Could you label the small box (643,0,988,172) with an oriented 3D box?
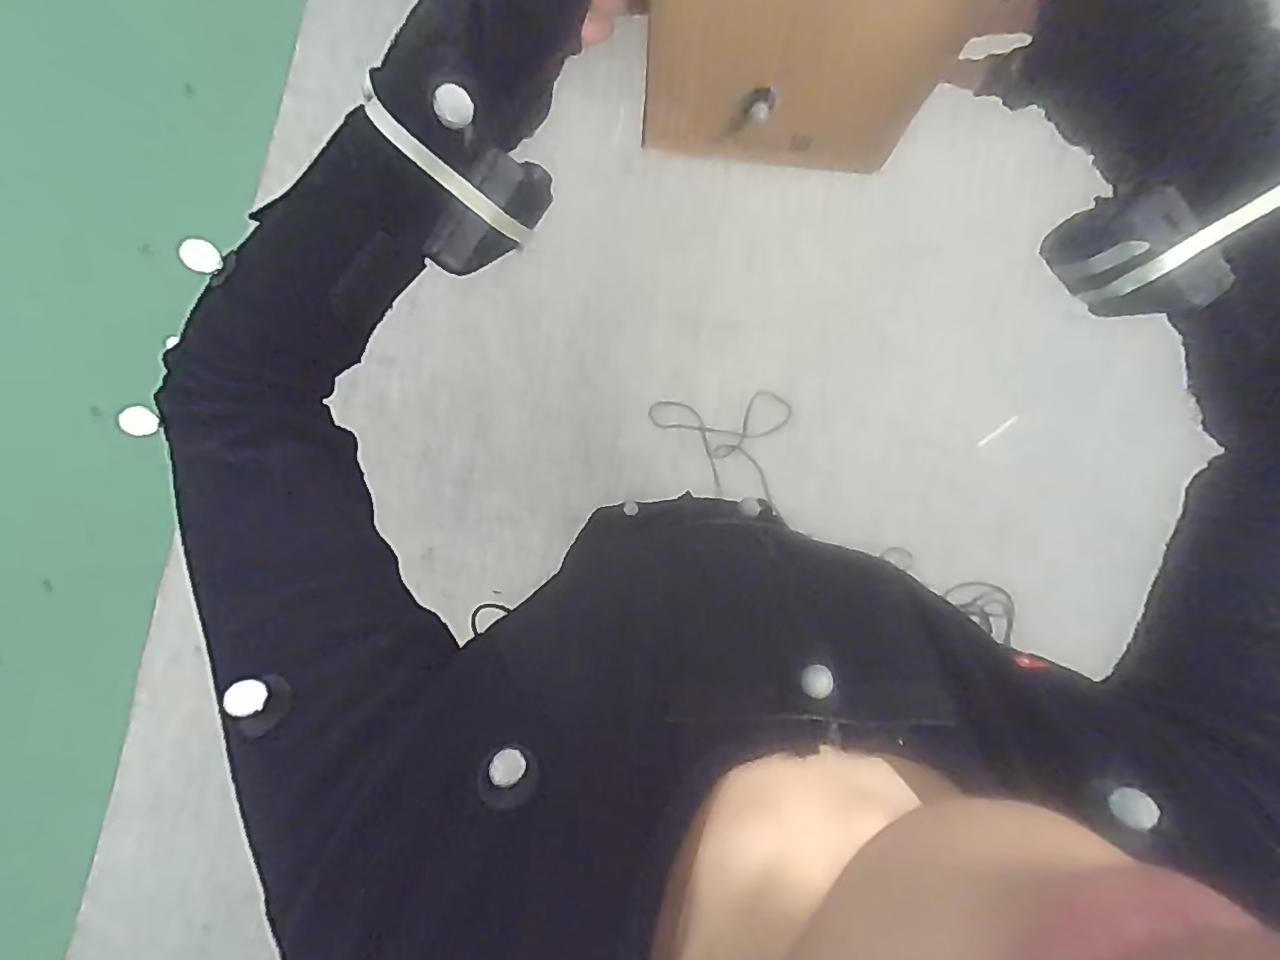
[{"bbox_3d":[0.091,-0.315,0.305,0.168,0.176,0.179,4,85,-1],"label":"small box"}]
